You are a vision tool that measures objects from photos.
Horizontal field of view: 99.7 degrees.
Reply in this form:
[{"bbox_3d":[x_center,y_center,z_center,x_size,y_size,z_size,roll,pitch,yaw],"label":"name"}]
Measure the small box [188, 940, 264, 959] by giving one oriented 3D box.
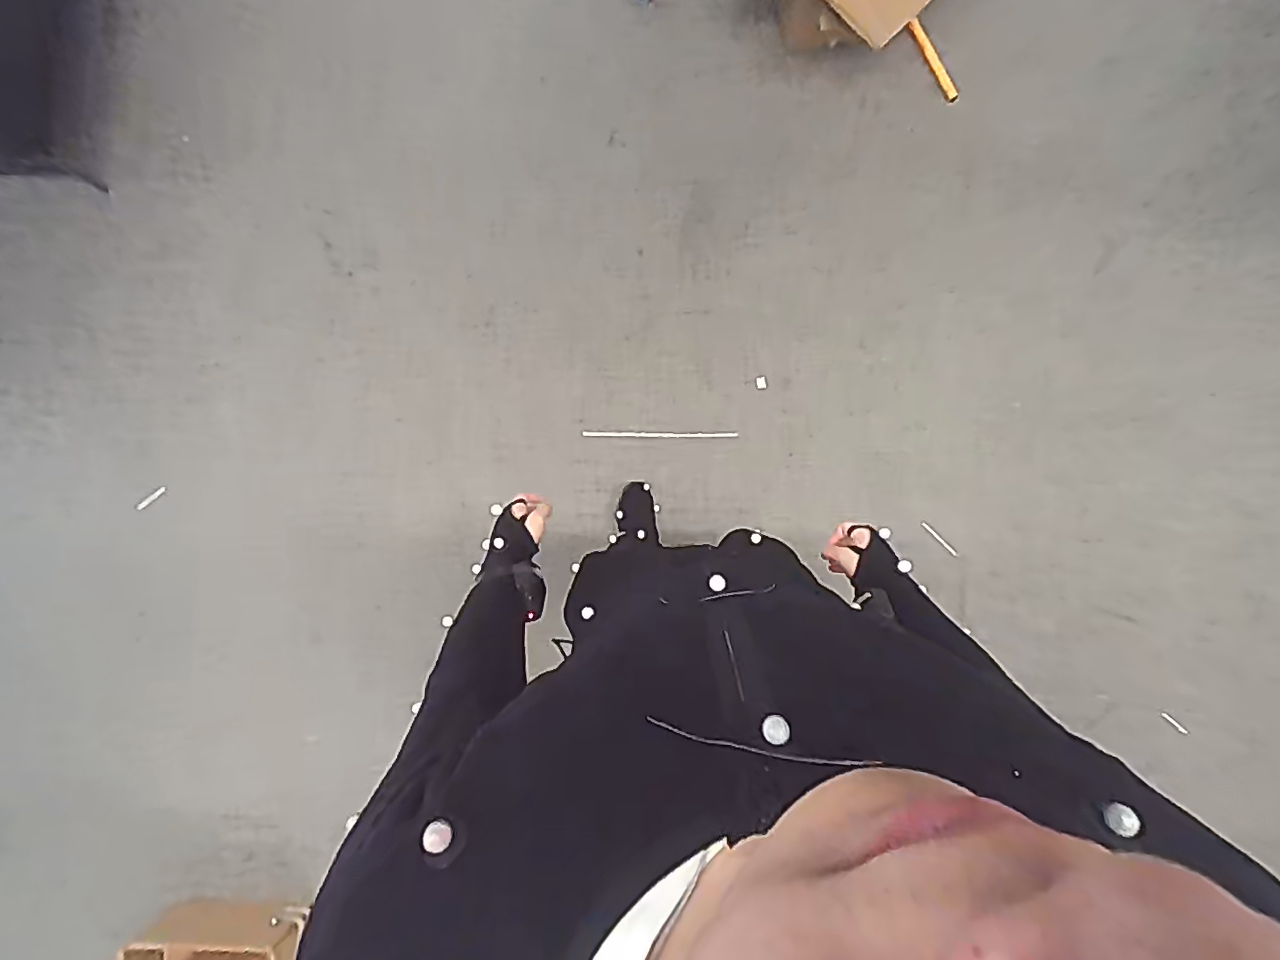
[{"bbox_3d":[-1.126,1.354,1.416,0.179,0.176,0.168,1,86,-1],"label":"small box"}]
